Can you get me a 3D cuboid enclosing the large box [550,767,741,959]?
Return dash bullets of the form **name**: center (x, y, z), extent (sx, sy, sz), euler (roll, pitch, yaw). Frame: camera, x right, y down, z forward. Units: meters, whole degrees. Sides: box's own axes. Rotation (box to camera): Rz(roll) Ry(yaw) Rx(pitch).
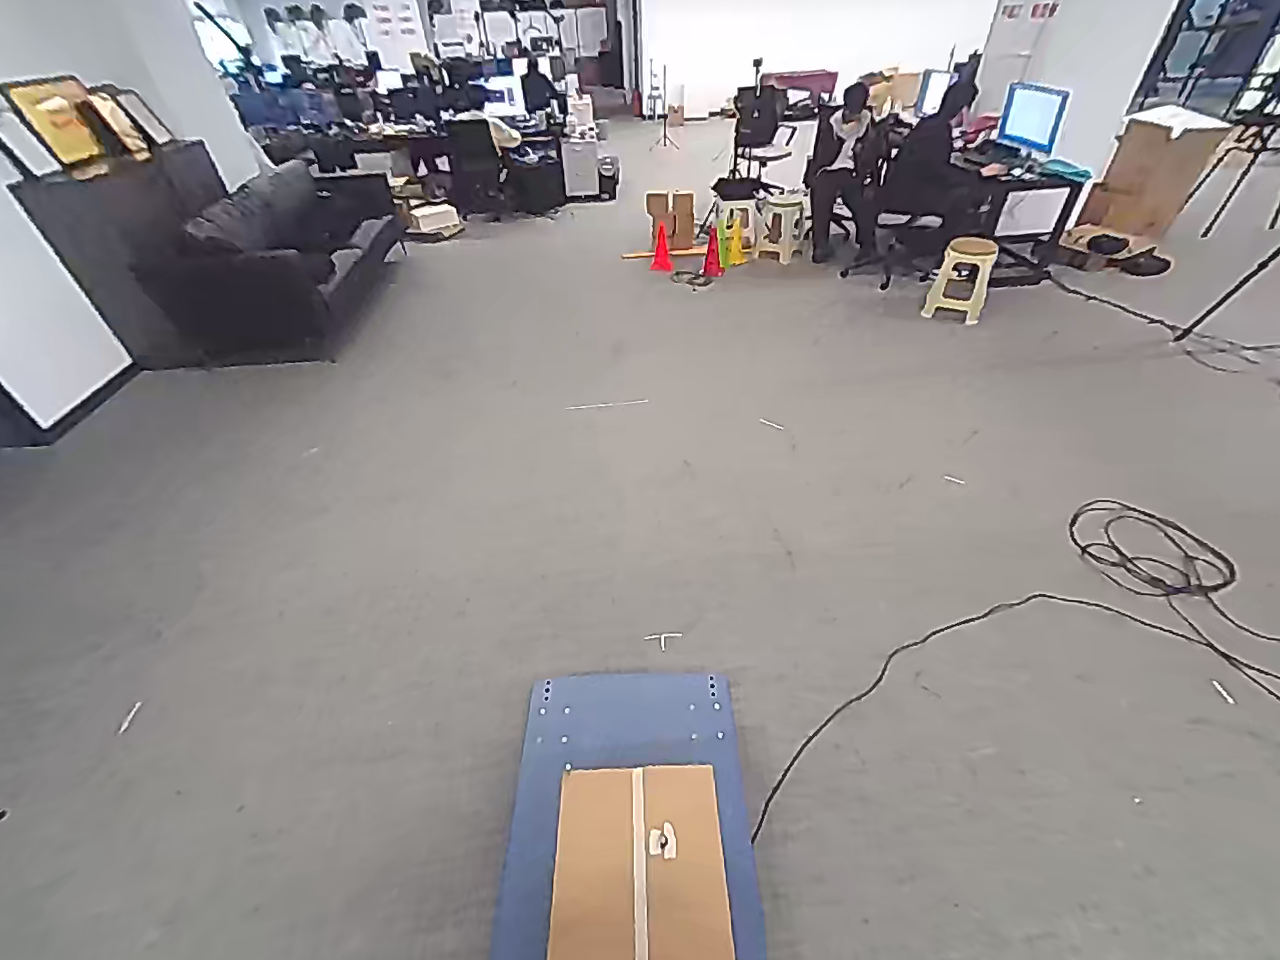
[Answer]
- **large box**: center (0.011, 0.836, 1.049), extent (0.320, 0.320, 0.408), euler (-2, 39, 0)
